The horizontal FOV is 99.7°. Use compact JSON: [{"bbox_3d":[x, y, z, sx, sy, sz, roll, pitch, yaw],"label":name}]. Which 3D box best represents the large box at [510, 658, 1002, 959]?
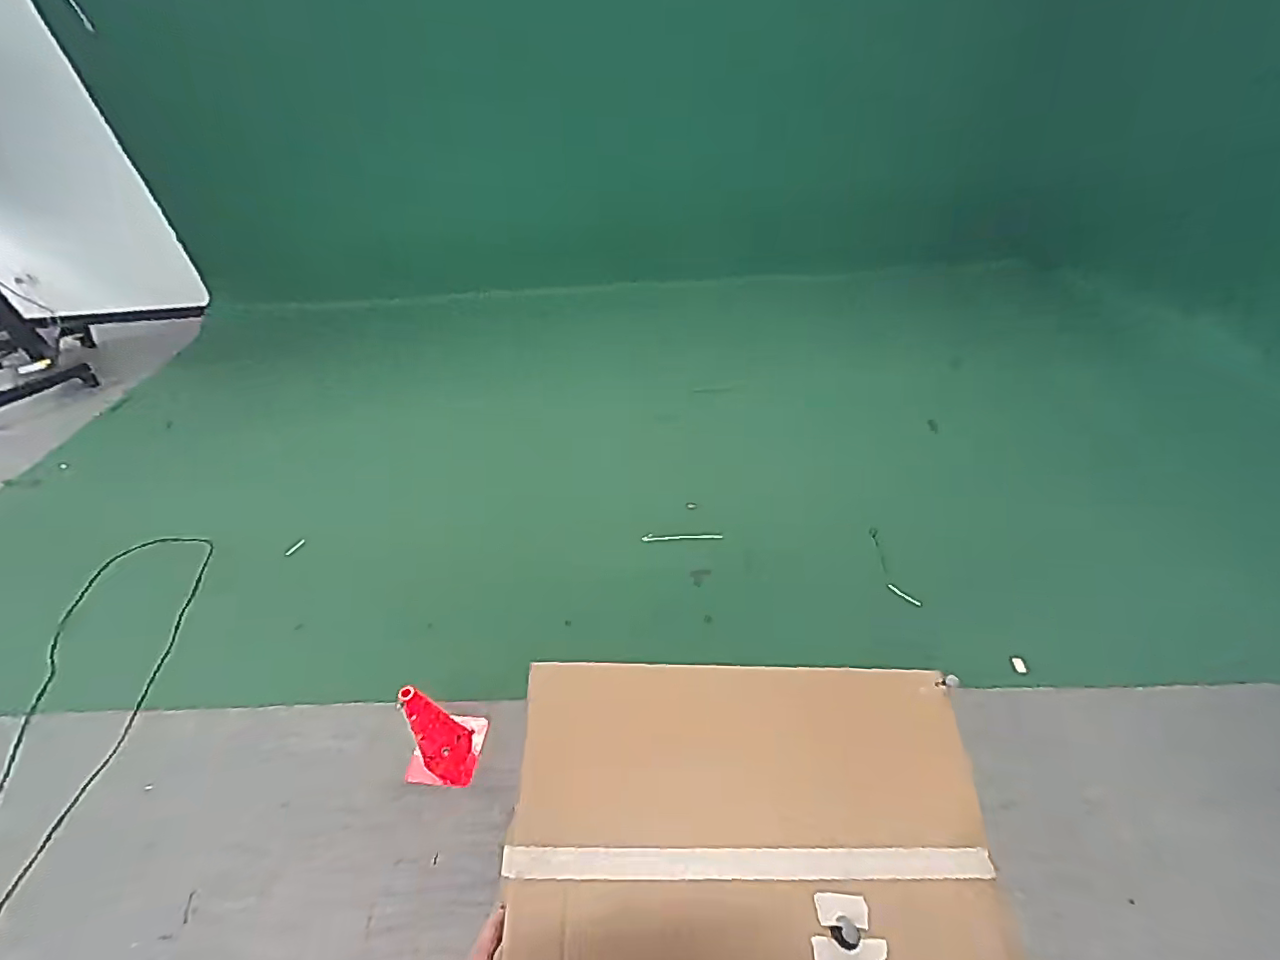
[{"bbox_3d":[0.085,0.390,0.594,0.408,0.320,0.320,2,60,-3],"label":"large box"}]

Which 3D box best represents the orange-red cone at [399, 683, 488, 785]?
[{"bbox_3d":[-0.586,0.668,1.496,0.199,0.360,0.198,1,42,9],"label":"orange-red cone"}]
